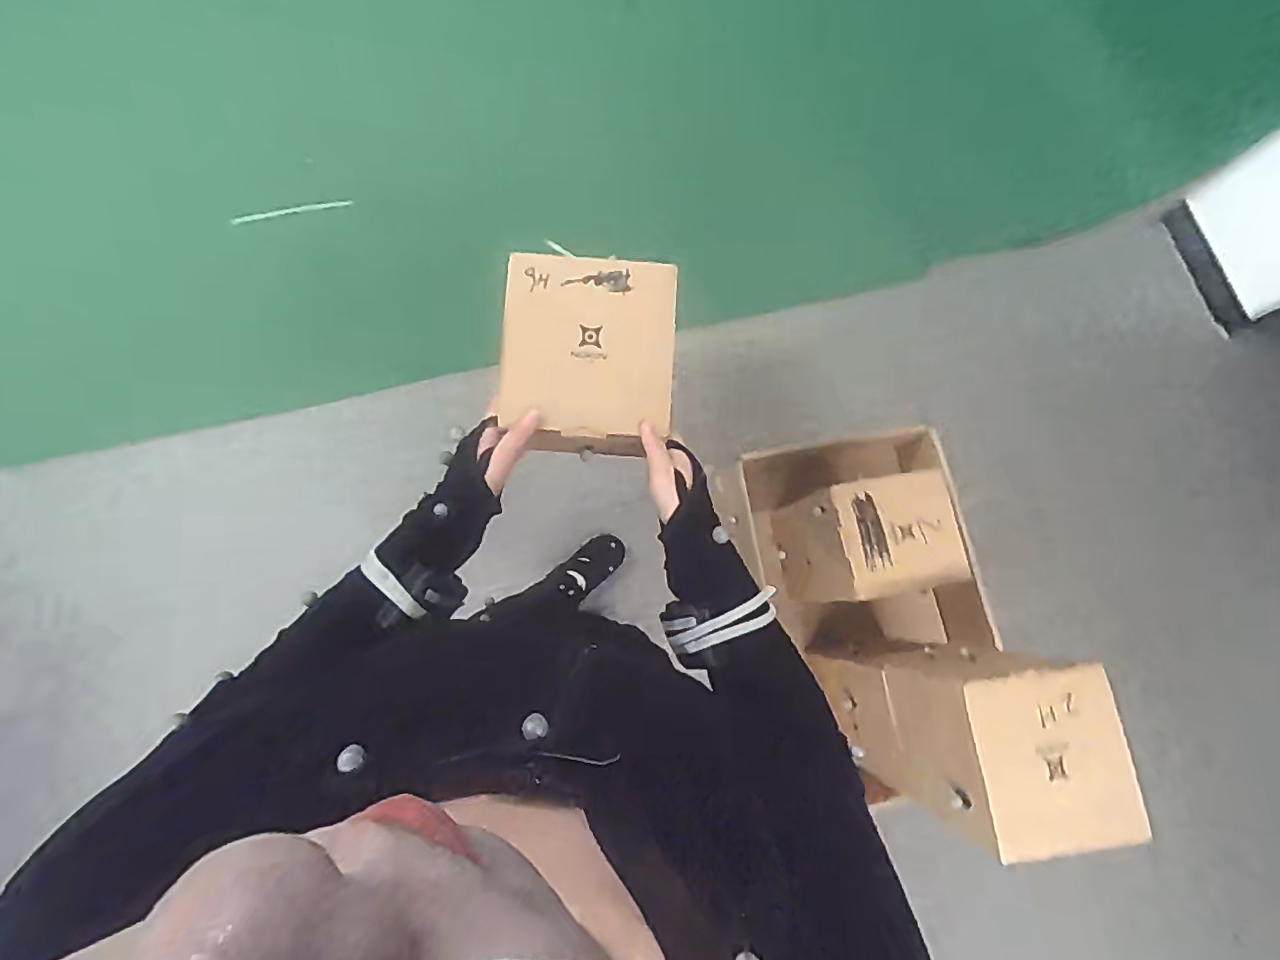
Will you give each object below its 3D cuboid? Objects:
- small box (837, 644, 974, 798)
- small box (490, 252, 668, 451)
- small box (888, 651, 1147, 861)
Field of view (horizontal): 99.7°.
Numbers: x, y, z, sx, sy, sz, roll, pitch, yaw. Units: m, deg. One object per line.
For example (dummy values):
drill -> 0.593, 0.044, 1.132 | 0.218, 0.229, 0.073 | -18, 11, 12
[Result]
small box -> 0.419, 0.341, 0.799 | 0.179, 0.176, 0.168 | -7, 78, -3
small box -> -0.060, -0.127, 0.599 | 0.168, 0.176, 0.179 | 3, 88, -2
small box -> 0.421, 0.306, 0.637 | 0.168, 0.176, 0.179 | -4, 78, -4
